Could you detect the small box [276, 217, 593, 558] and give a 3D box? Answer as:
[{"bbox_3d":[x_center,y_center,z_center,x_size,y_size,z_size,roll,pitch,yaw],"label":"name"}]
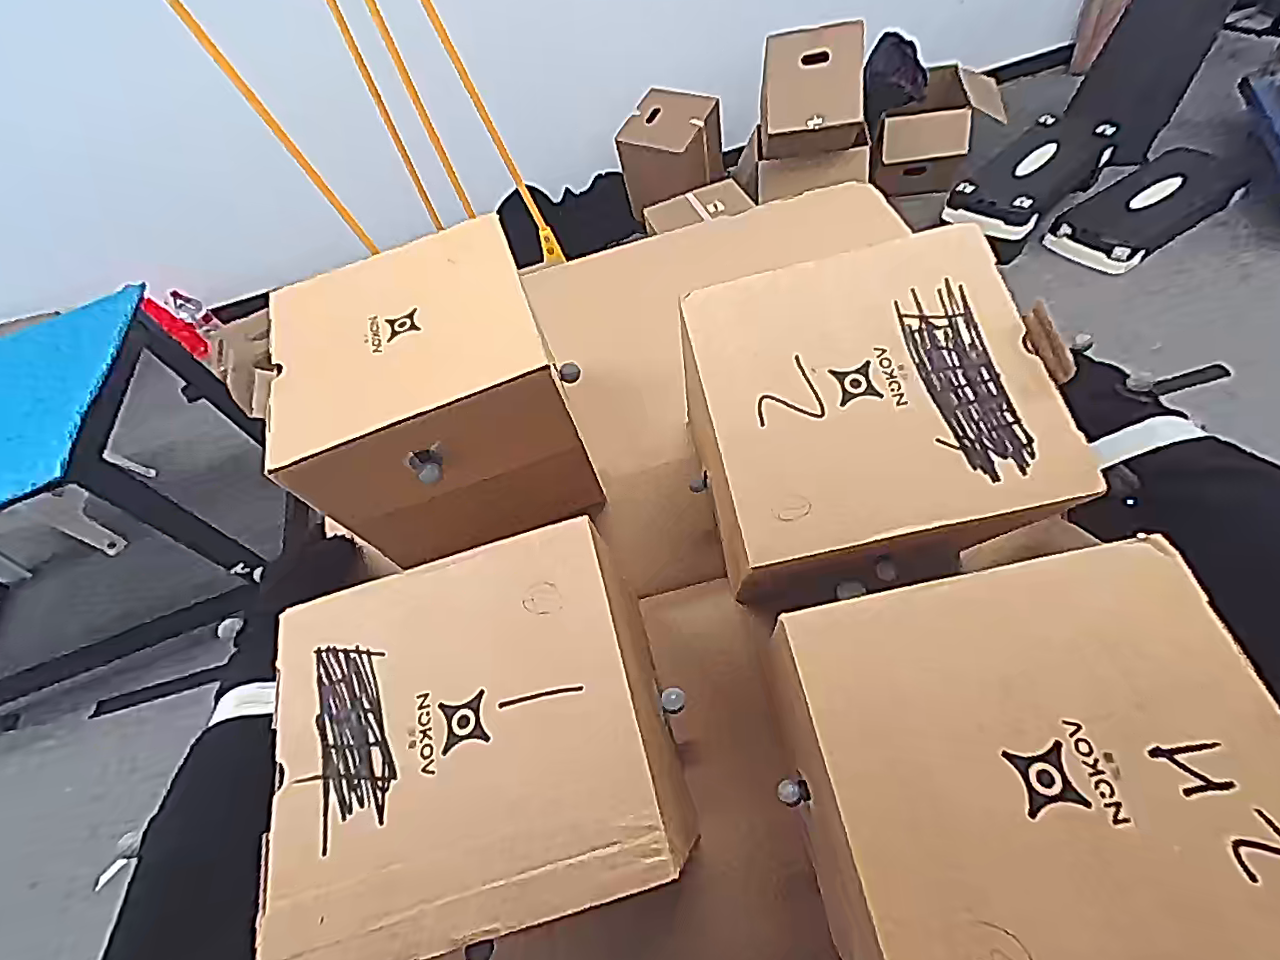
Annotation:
[{"bbox_3d":[-0.147,-0.063,0.430,0.179,0.176,0.168,-23,59,-1],"label":"small box"}]
